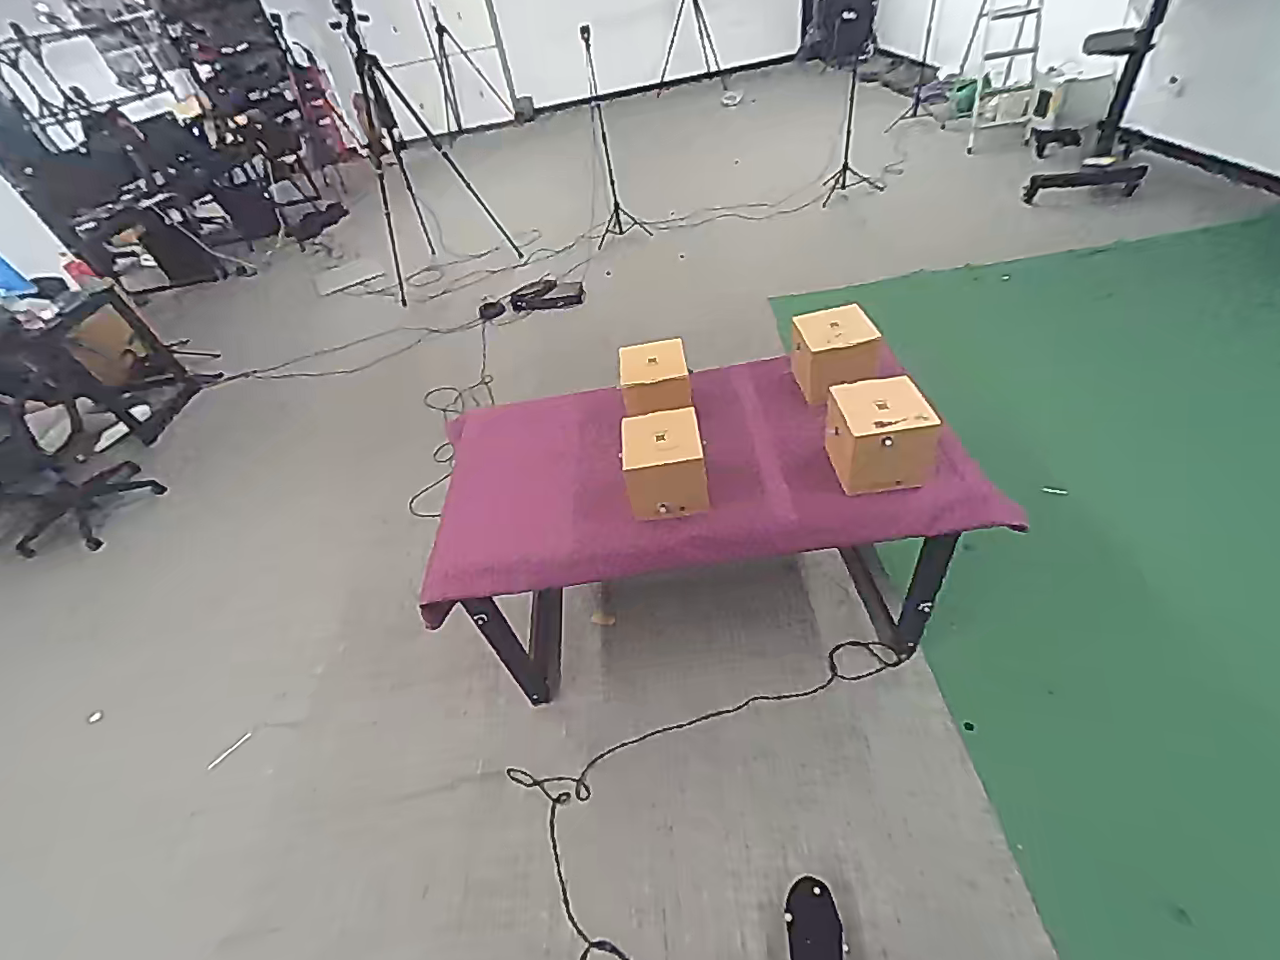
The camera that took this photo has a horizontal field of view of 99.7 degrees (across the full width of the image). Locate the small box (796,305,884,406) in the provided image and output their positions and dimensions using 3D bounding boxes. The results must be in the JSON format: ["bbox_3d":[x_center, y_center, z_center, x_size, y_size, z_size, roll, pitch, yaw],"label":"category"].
[{"bbox_3d":[0.498,-0.314,1.375,0.168,0.176,0.179,-11,44,5],"label":"small box"}]

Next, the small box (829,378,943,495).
[{"bbox_3d":[0.508,-0.092,1.146,0.168,0.176,0.179,-8,42,6],"label":"small box"}]

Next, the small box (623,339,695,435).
[{"bbox_3d":[0.050,-0.240,1.406,0.168,0.176,0.179,-8,45,4],"label":"small box"}]
